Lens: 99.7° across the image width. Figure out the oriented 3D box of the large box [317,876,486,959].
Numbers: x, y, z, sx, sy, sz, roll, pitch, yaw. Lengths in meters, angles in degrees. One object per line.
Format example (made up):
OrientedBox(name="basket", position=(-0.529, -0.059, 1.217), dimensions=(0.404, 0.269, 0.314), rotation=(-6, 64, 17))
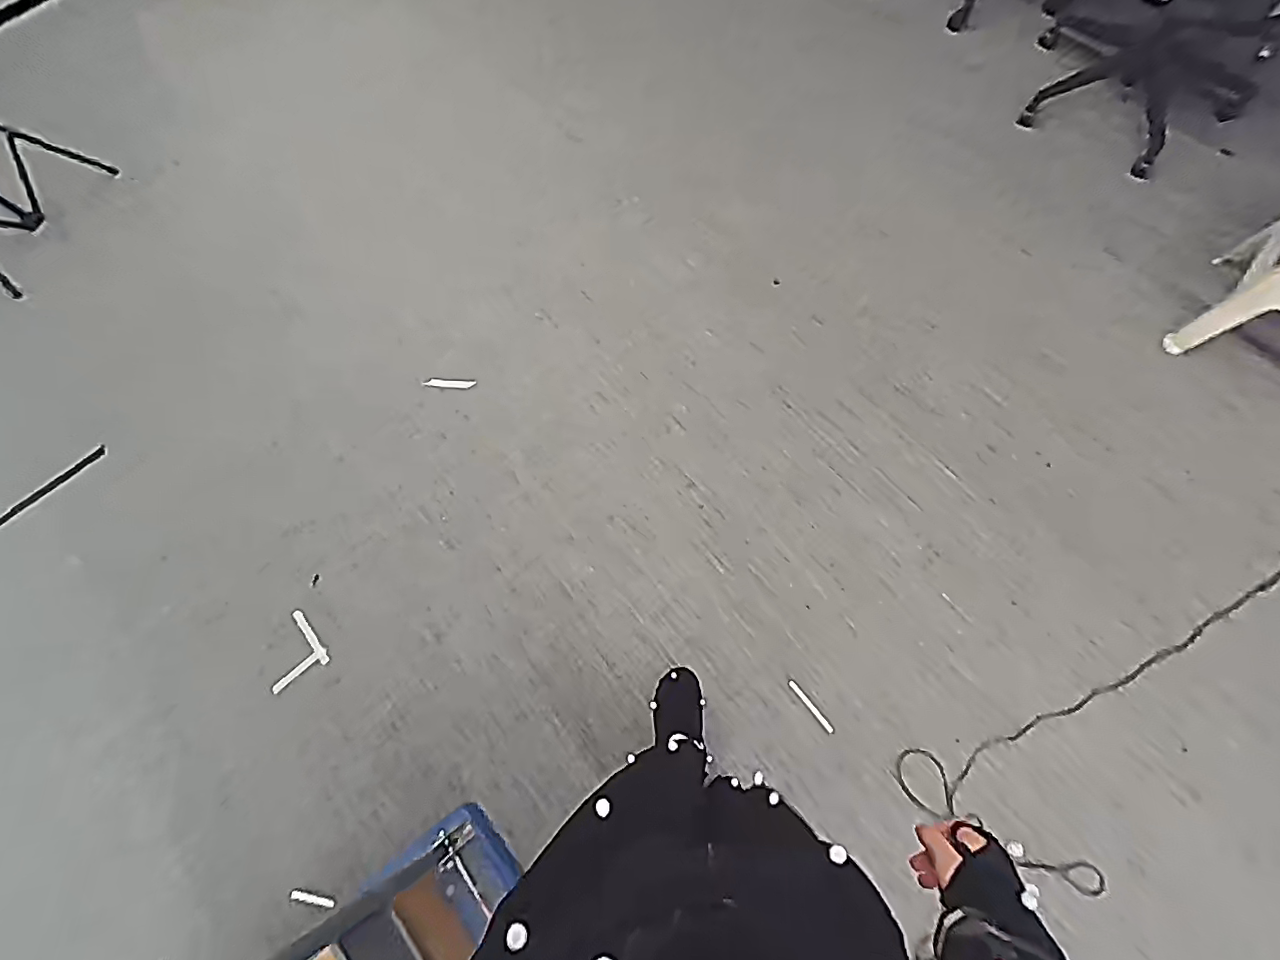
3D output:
OrientedBox(name="large box", position=(-0.401, 0.959, 0.845), dimensions=(0.320, 0.320, 0.408), rotation=(-43, 72, -10))
